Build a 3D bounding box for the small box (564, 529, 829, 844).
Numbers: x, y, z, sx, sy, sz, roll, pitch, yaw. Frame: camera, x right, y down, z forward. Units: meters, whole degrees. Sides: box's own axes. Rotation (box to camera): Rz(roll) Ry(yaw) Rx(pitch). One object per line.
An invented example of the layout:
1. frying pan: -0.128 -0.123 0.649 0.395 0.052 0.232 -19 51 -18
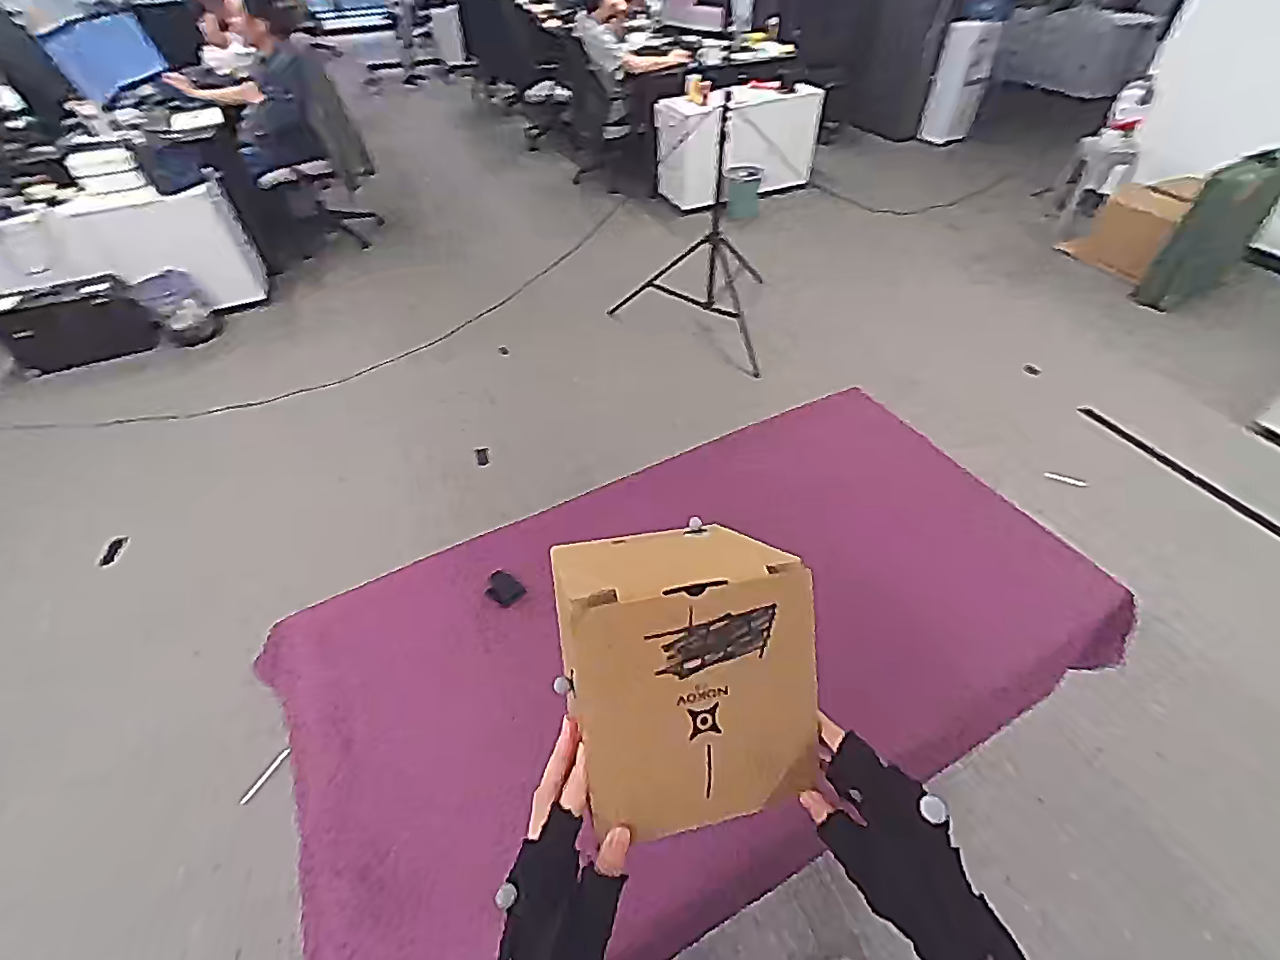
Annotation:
1. small box: 0.032 0.141 0.443 0.168 0.179 0.176 -7 7 -12
